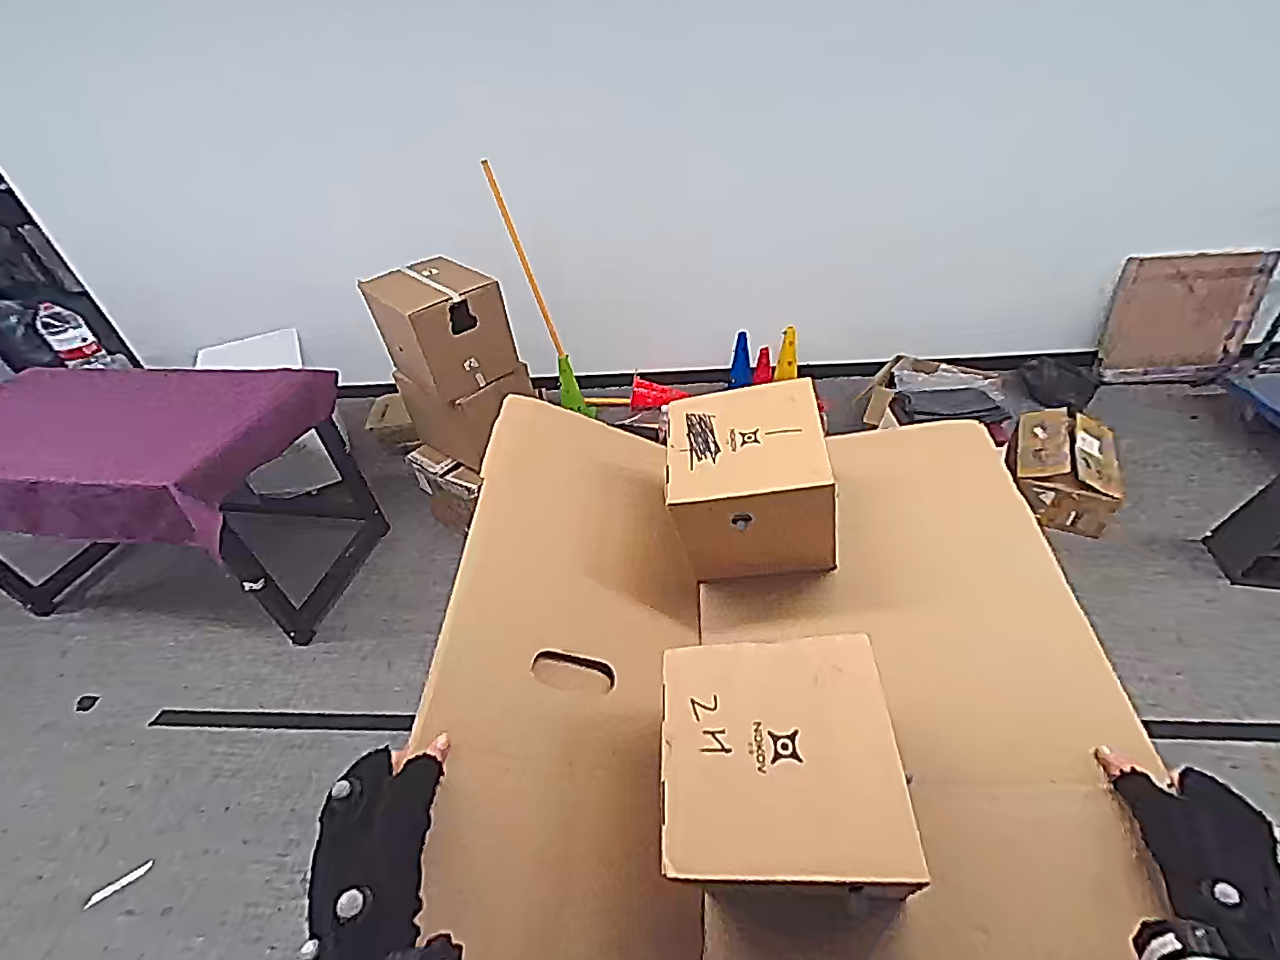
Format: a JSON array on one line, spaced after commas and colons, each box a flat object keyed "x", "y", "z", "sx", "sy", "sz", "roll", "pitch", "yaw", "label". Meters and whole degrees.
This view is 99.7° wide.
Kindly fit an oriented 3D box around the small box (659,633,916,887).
[{"x": 0.122, "y": 0.251, "z": 0.479, "sx": 0.179, "sy": 0.176, "sz": 0.168, "roll": -9, "pitch": 49, "yaw": 14, "label": "small box"}]

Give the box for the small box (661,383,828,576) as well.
[{"x": 0.133, "y": 0.007, "z": 0.681, "sx": 0.179, "sy": 0.176, "sz": 0.168, "roll": -8, "pitch": 49, "yaw": 14, "label": "small box"}]
